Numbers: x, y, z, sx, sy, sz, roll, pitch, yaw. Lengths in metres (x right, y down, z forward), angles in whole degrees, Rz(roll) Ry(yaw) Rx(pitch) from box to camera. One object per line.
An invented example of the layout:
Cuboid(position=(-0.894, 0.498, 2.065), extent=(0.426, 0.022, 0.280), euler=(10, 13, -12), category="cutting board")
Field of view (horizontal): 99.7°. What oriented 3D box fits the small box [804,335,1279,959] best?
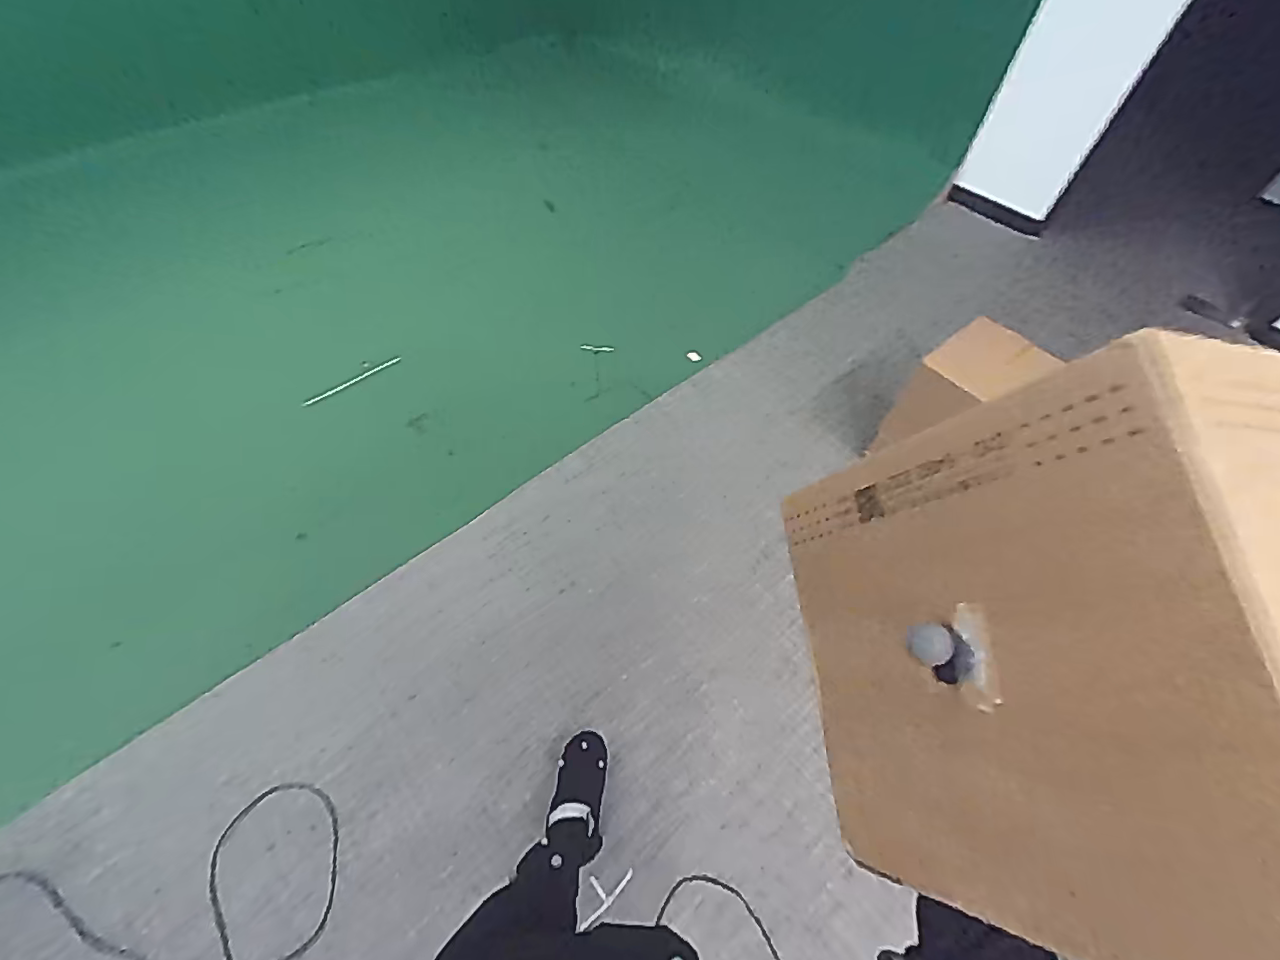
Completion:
Cuboid(position=(0.191, 0.060, 0.221), extent=(0.179, 0.168, 0.176), euler=(2, 73, -21), category="small box")
